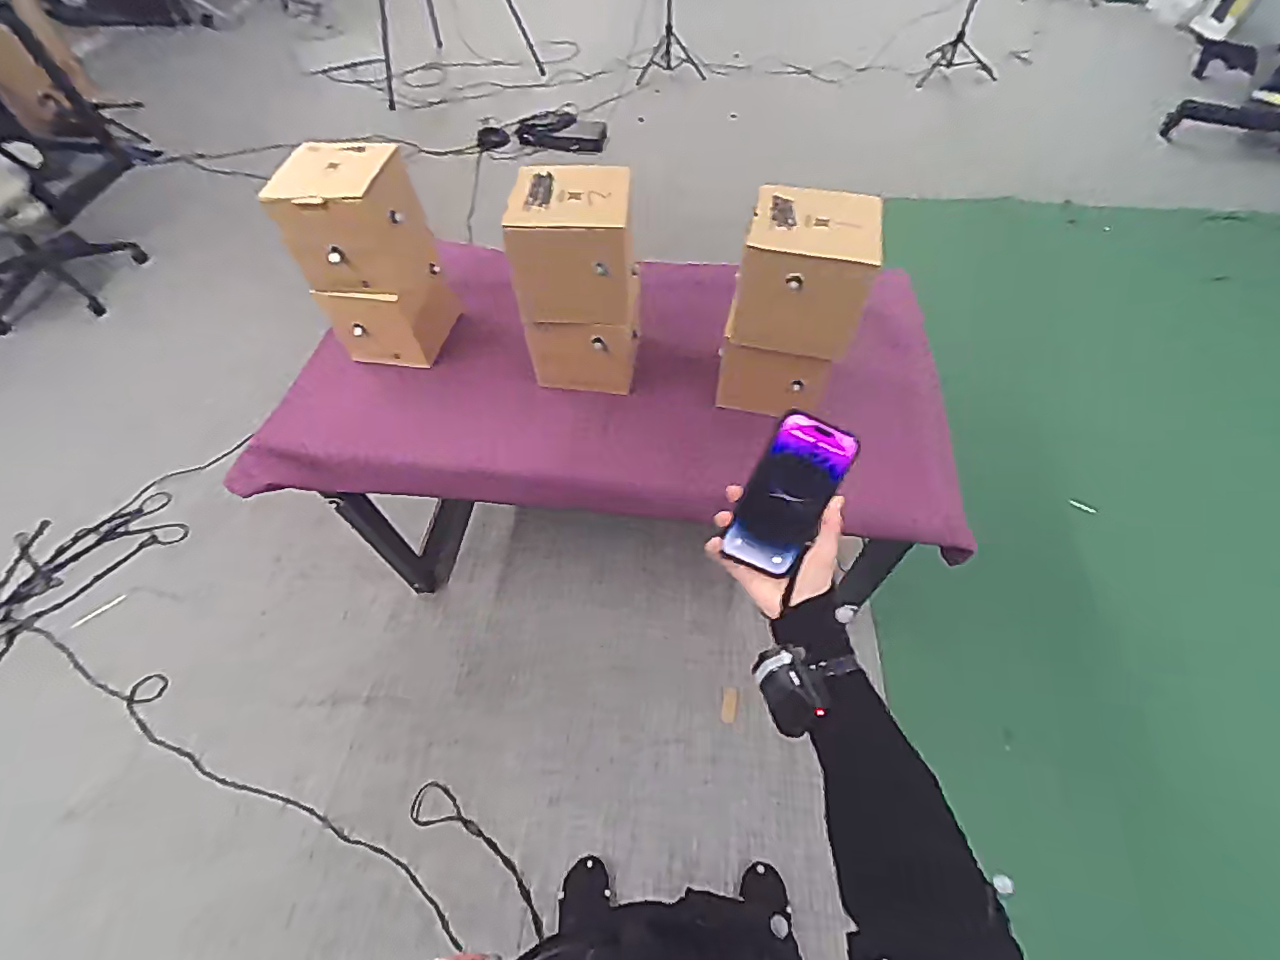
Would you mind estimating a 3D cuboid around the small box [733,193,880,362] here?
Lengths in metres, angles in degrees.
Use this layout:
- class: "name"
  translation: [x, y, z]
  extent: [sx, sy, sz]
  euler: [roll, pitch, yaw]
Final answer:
- class: "small box"
  translation: [0.242, -0.299, 0.810]
  extent: [0.179, 0.176, 0.168]
  euler: [12, 56, 9]

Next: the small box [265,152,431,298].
- class: "small box"
  translation: [-0.479, -0.431, 0.923]
  extent: [0.168, 0.176, 0.179]
  euler: [3, 56, 3]

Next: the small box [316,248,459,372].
- class: "small box"
  translation: [-0.476, -0.331, 1.054]
  extent: [0.168, 0.176, 0.179]
  euler: [7, 56, 7]

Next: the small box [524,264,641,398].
- class: "small box"
  translation: [-0.094, -0.270, 0.998]
  extent: [0.179, 0.176, 0.168]
  euler: [6, 56, 6]

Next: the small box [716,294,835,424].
- class: "small box"
  translation: [0.240, -0.219, 0.954]
  extent: [0.179, 0.176, 0.168]
  euler: [12, 56, 11]
